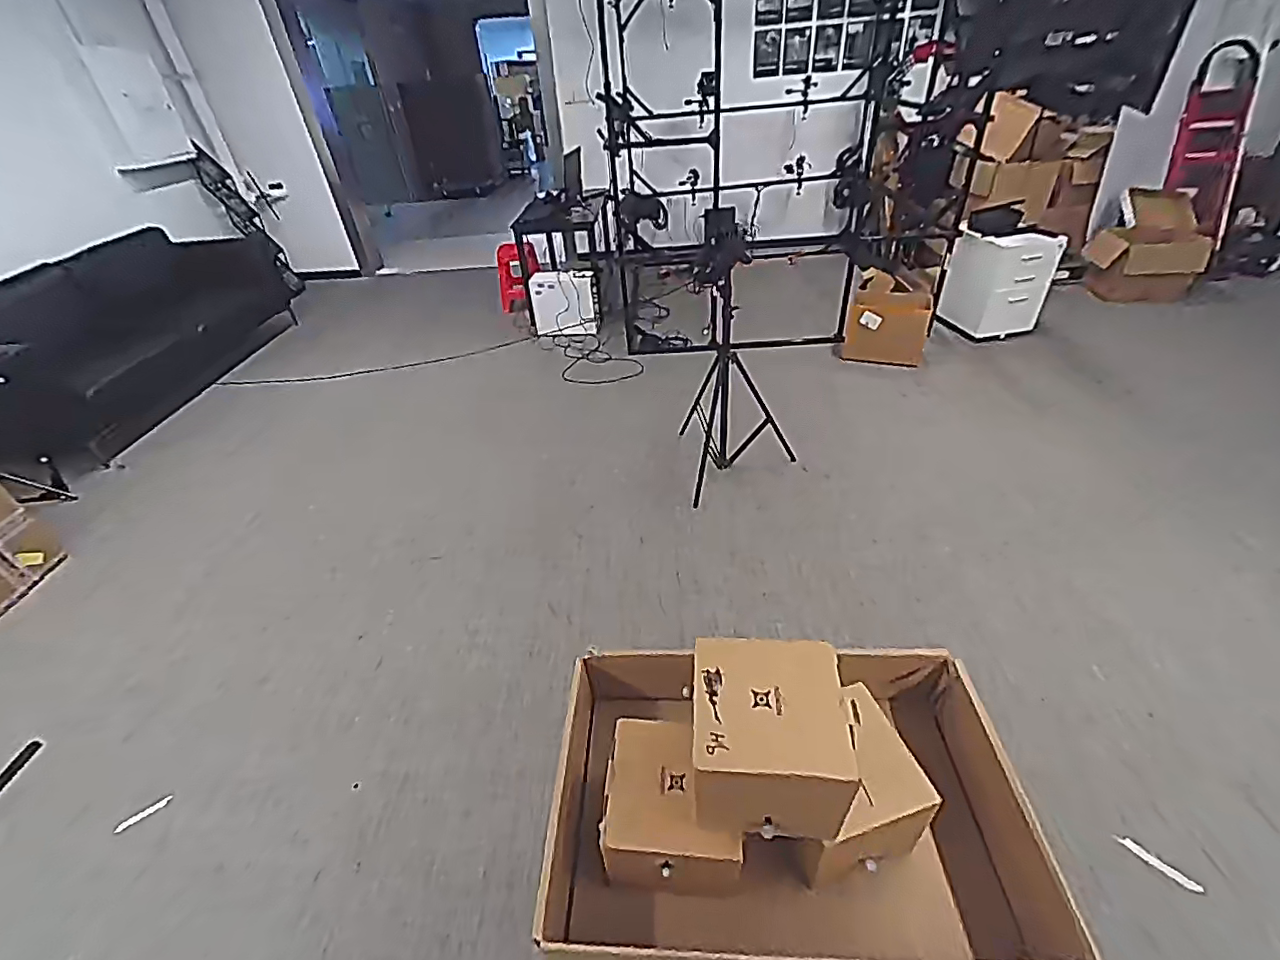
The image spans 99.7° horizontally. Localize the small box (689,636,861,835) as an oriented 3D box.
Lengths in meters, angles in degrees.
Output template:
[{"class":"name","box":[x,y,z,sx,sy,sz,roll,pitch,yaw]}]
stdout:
[{"class":"small box","box":[0.153,0.318,0.674,0.179,0.176,0.168,1,38,6]}]
